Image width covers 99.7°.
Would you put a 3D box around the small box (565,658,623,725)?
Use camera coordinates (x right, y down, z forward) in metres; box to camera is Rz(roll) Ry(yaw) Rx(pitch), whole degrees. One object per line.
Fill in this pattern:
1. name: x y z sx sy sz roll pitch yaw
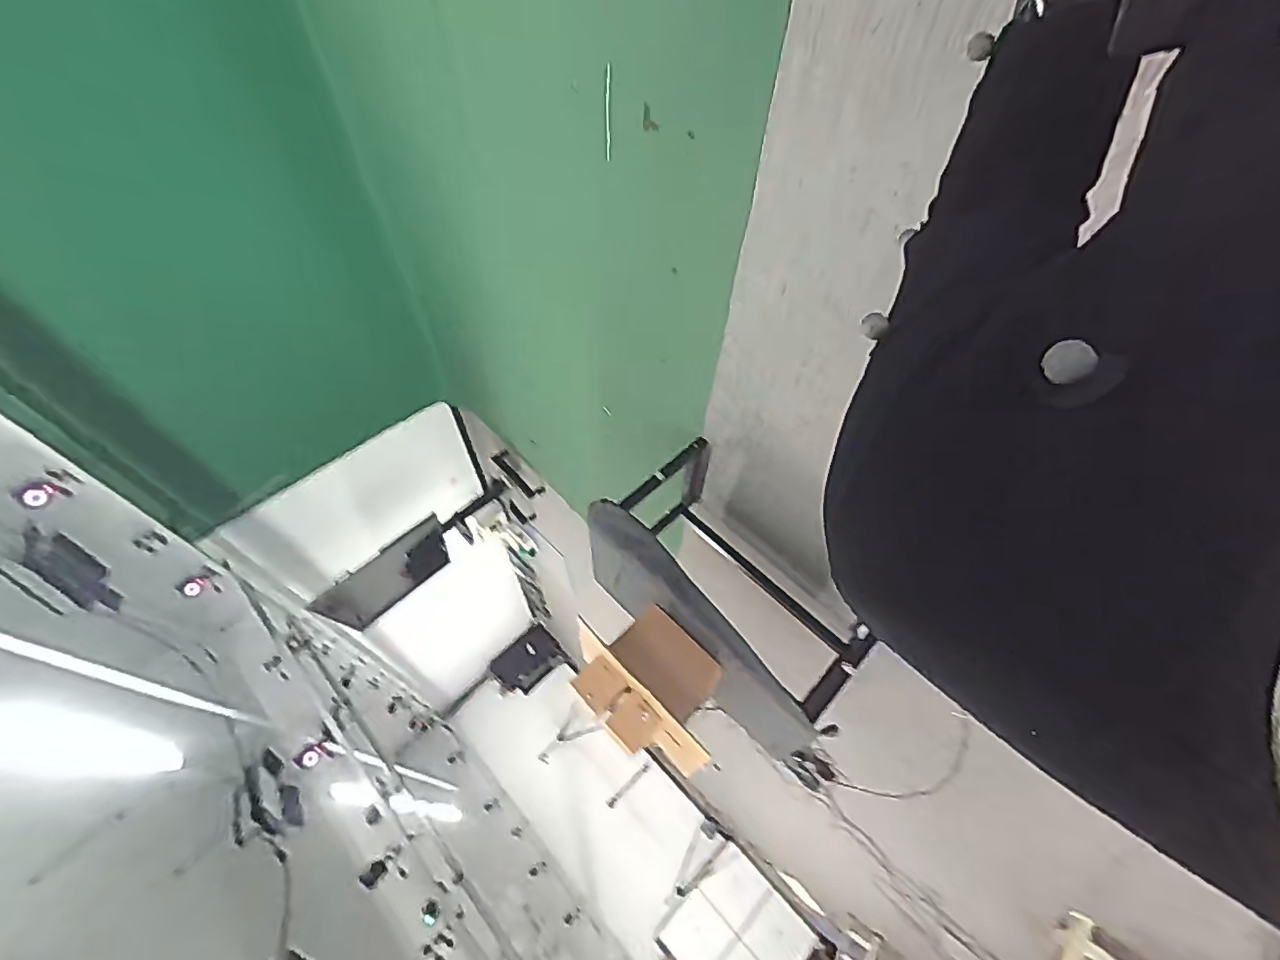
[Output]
1. small box: -0.183 0.852 2.174 0.168 0.176 0.179 44 154 23

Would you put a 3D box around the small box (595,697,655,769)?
1. small box: -0.057 0.978 2.092 0.168 0.176 0.179 40 150 22
